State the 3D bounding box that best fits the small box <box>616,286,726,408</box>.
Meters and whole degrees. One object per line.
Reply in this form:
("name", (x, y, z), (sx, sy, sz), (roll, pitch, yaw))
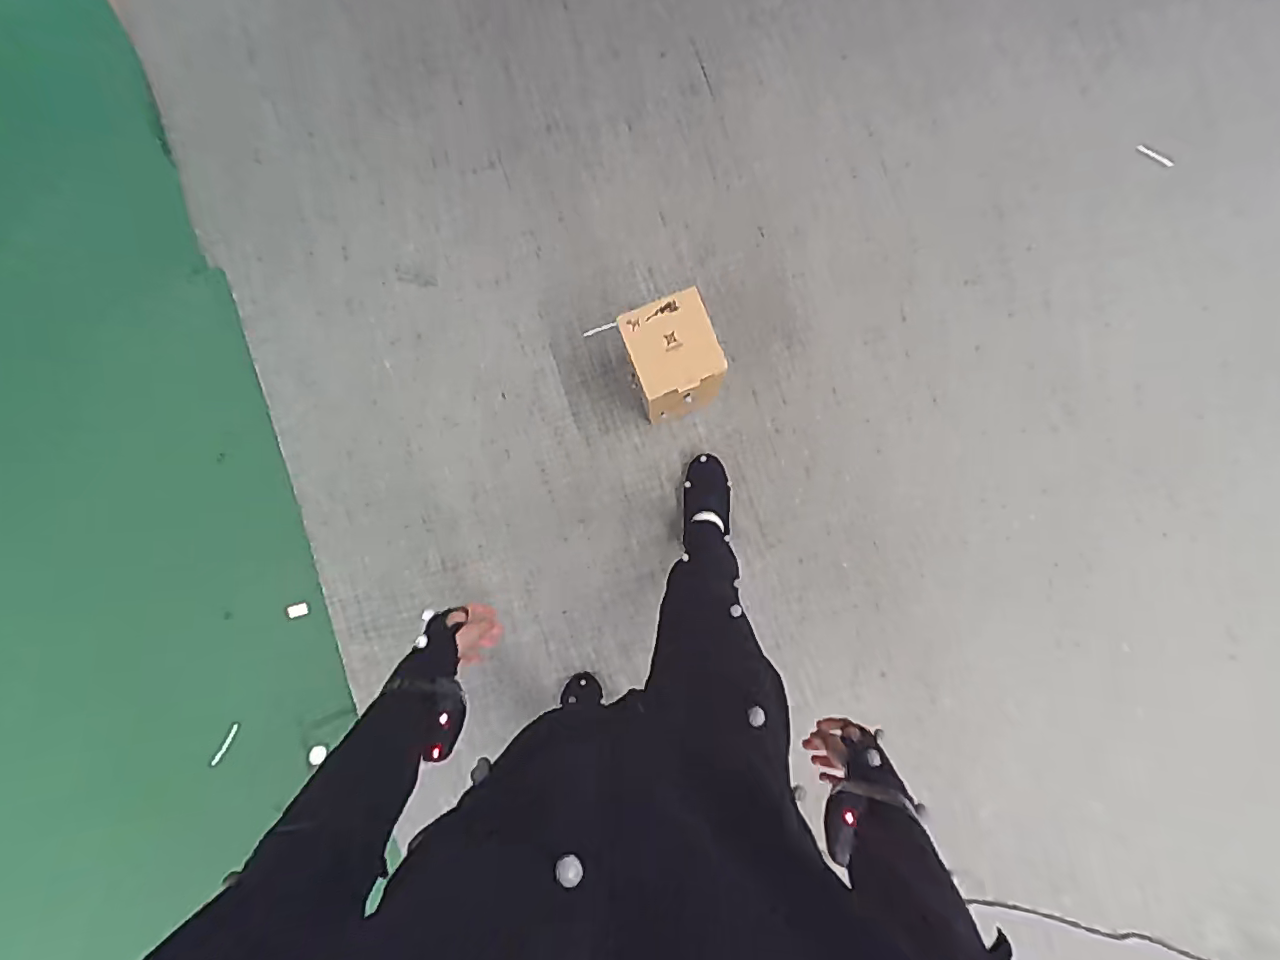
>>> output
("small box", (0.062, -0.254, 1.090), (0.168, 0.176, 0.179), (-21, 87, 1))
